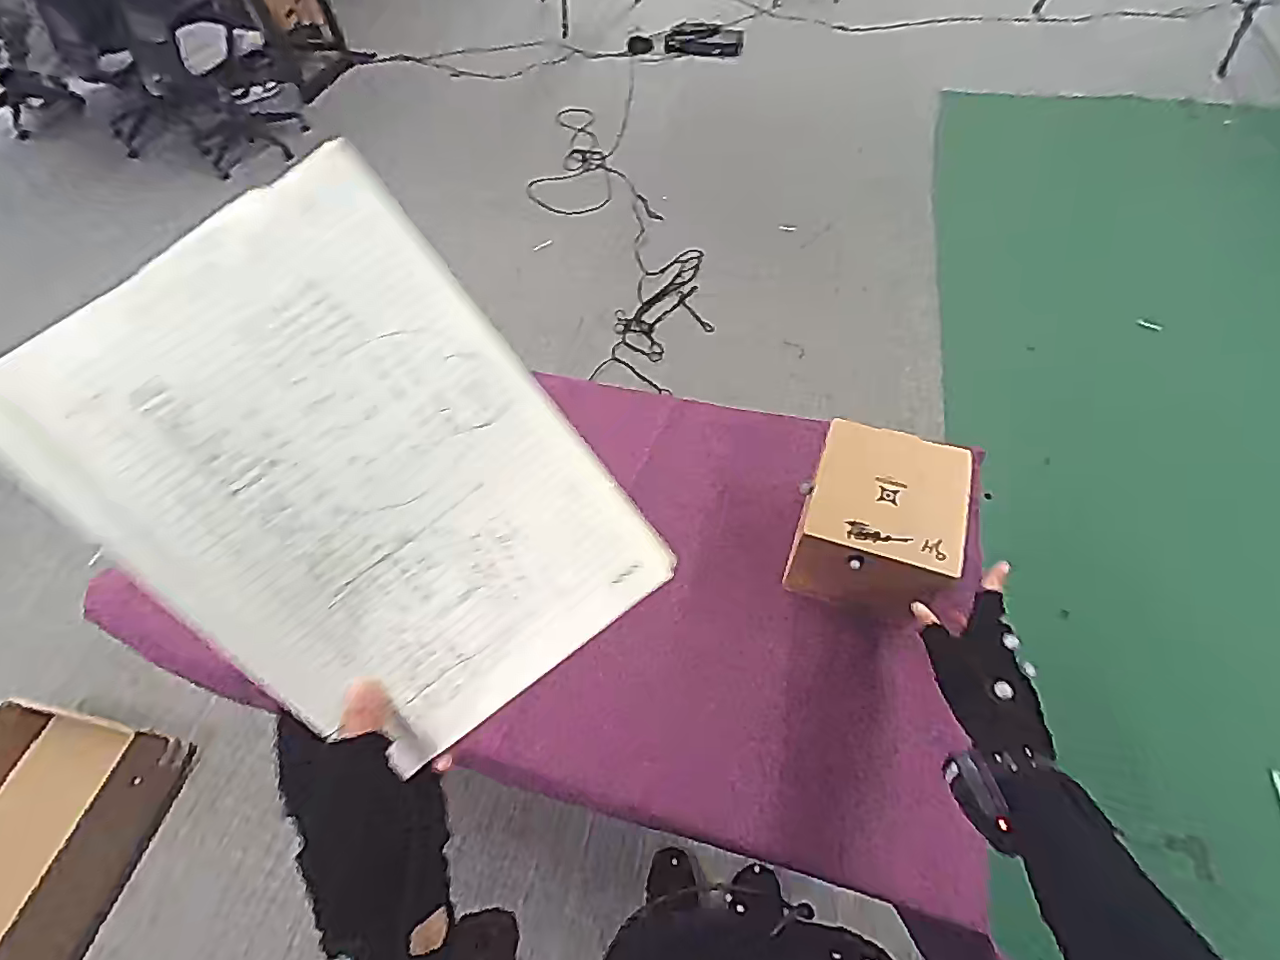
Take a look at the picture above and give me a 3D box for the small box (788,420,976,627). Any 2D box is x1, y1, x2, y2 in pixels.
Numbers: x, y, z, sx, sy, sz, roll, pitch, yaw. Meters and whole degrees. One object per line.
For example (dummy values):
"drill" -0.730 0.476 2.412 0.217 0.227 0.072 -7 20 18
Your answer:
"small box" 0.296 0.058 0.684 0.168 0.176 0.179 17 60 16
